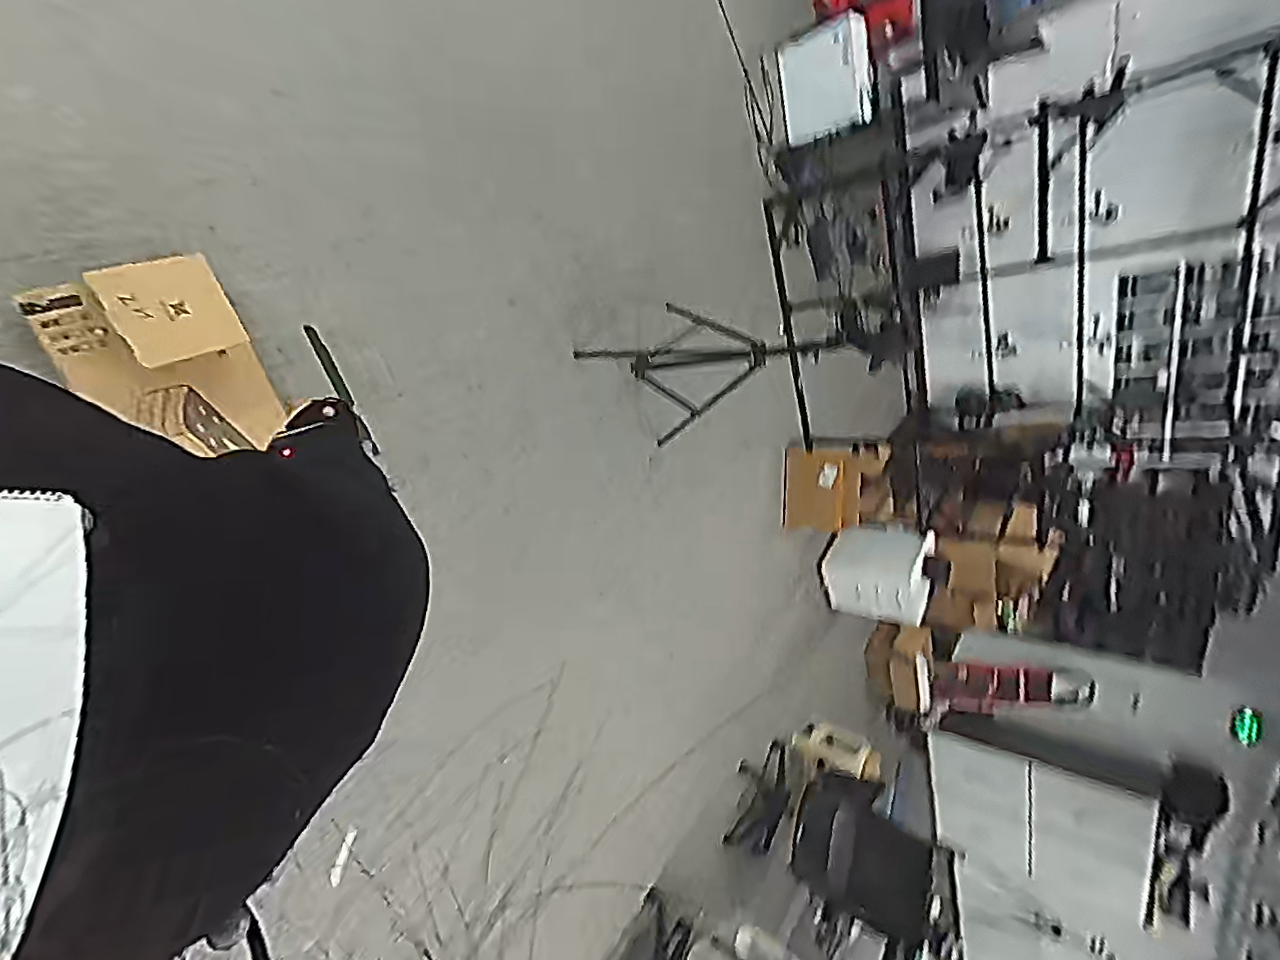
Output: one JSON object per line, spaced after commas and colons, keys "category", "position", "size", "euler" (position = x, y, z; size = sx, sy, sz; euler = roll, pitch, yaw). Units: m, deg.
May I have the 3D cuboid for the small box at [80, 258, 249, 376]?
{"category": "small box", "position": [-0.886, -0.301, 1.009], "size": [0.179, 0.176, 0.168], "euler": [-36, 119, -41]}
